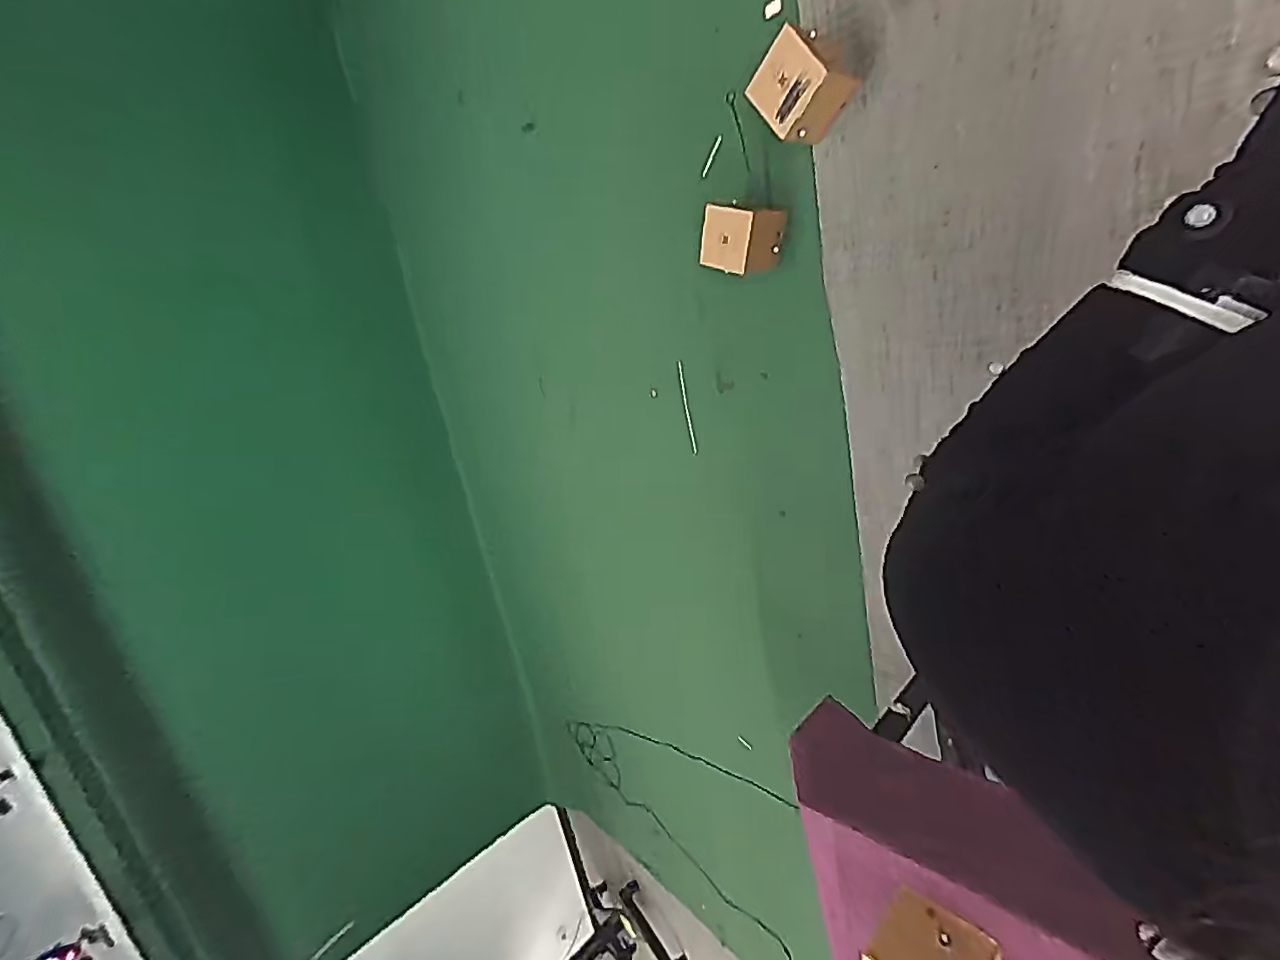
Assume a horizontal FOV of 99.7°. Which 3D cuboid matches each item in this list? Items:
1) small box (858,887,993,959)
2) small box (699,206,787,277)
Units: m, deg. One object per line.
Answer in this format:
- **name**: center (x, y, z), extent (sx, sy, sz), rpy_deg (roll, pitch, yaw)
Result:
- **small box**: center (0.511, 0.896, 0.963), extent (0.168, 0.176, 0.179), rpy_deg (8, 113, 48)
- **small box**: center (0.305, -0.713, 1.614), extent (0.179, 0.176, 0.168), rpy_deg (33, 131, 37)
